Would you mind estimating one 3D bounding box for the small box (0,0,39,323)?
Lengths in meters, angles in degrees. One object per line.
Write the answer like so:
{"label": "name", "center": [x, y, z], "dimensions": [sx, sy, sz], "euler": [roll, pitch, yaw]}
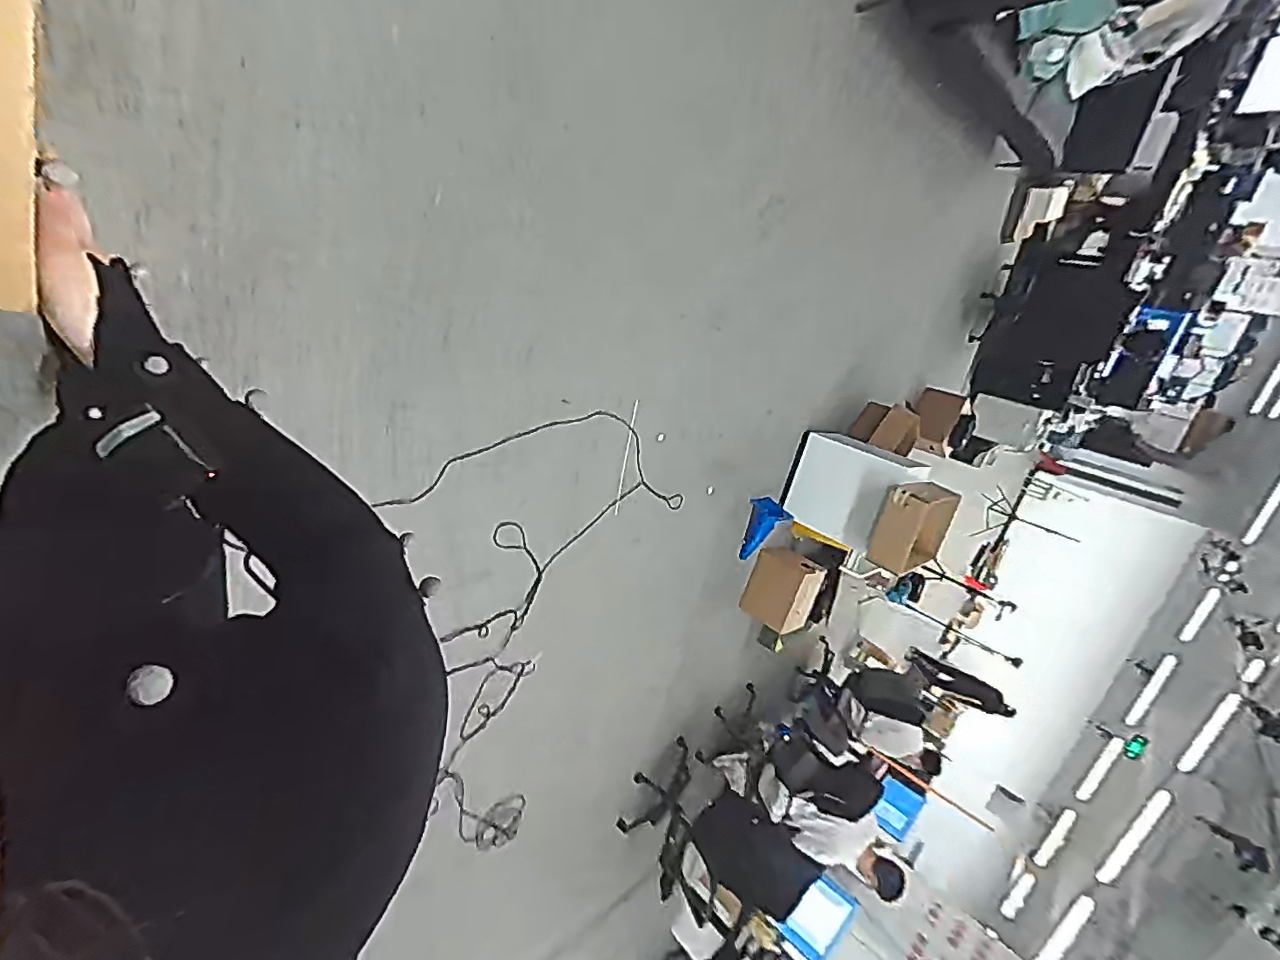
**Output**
{"label": "small box", "center": [-0.439, -0.204, 0.281], "dimensions": [0.168, 0.176, 0.179], "euler": [0, 116, -48]}
